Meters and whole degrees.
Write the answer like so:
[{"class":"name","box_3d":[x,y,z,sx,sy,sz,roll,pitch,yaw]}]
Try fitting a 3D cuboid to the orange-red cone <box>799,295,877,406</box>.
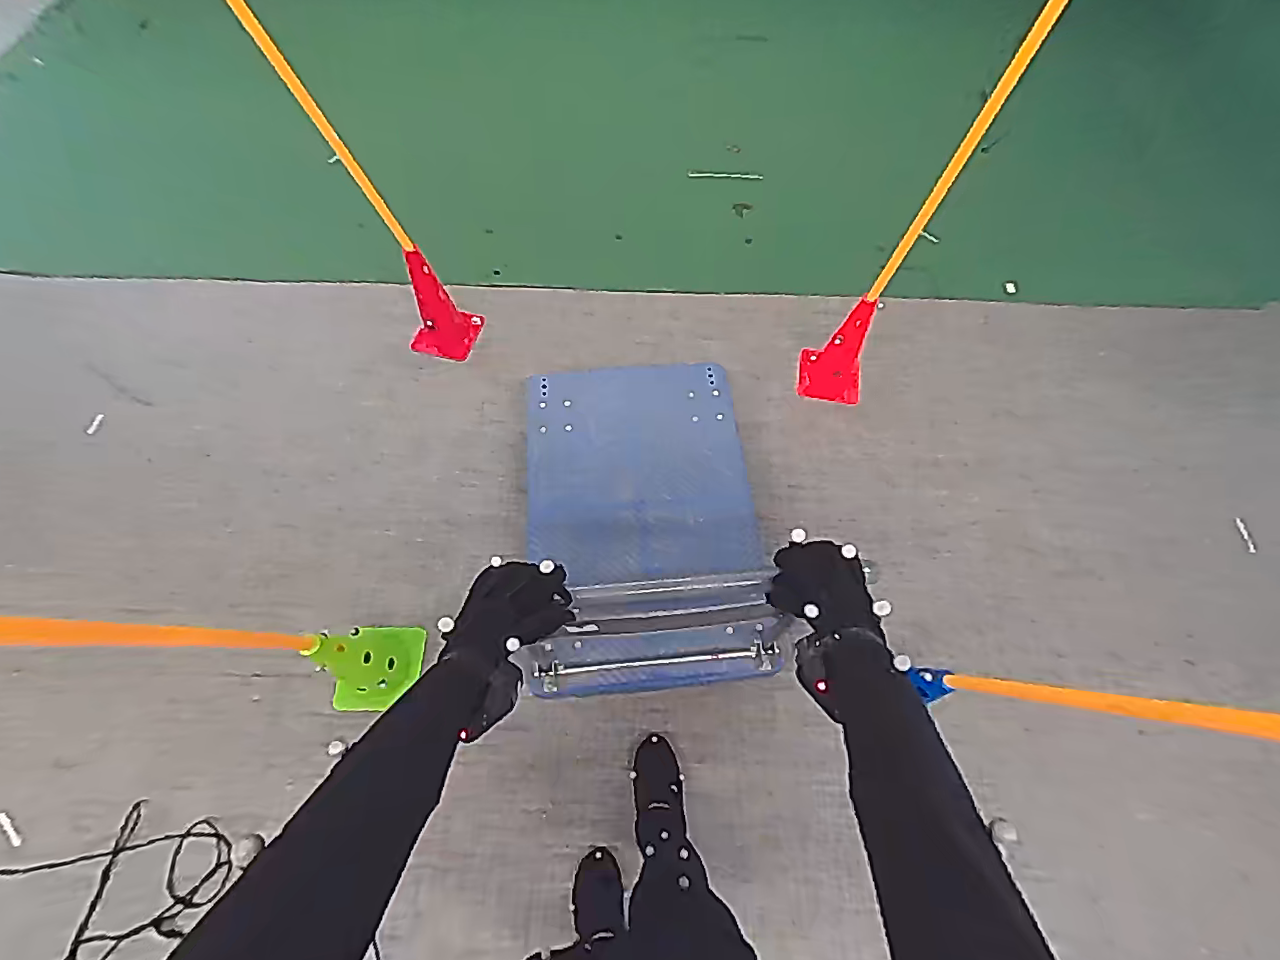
[{"class":"orange-red cone","box_3d":[0.628,-0.412,1.627,0.198,0.360,0.199,11,65,6]}]
